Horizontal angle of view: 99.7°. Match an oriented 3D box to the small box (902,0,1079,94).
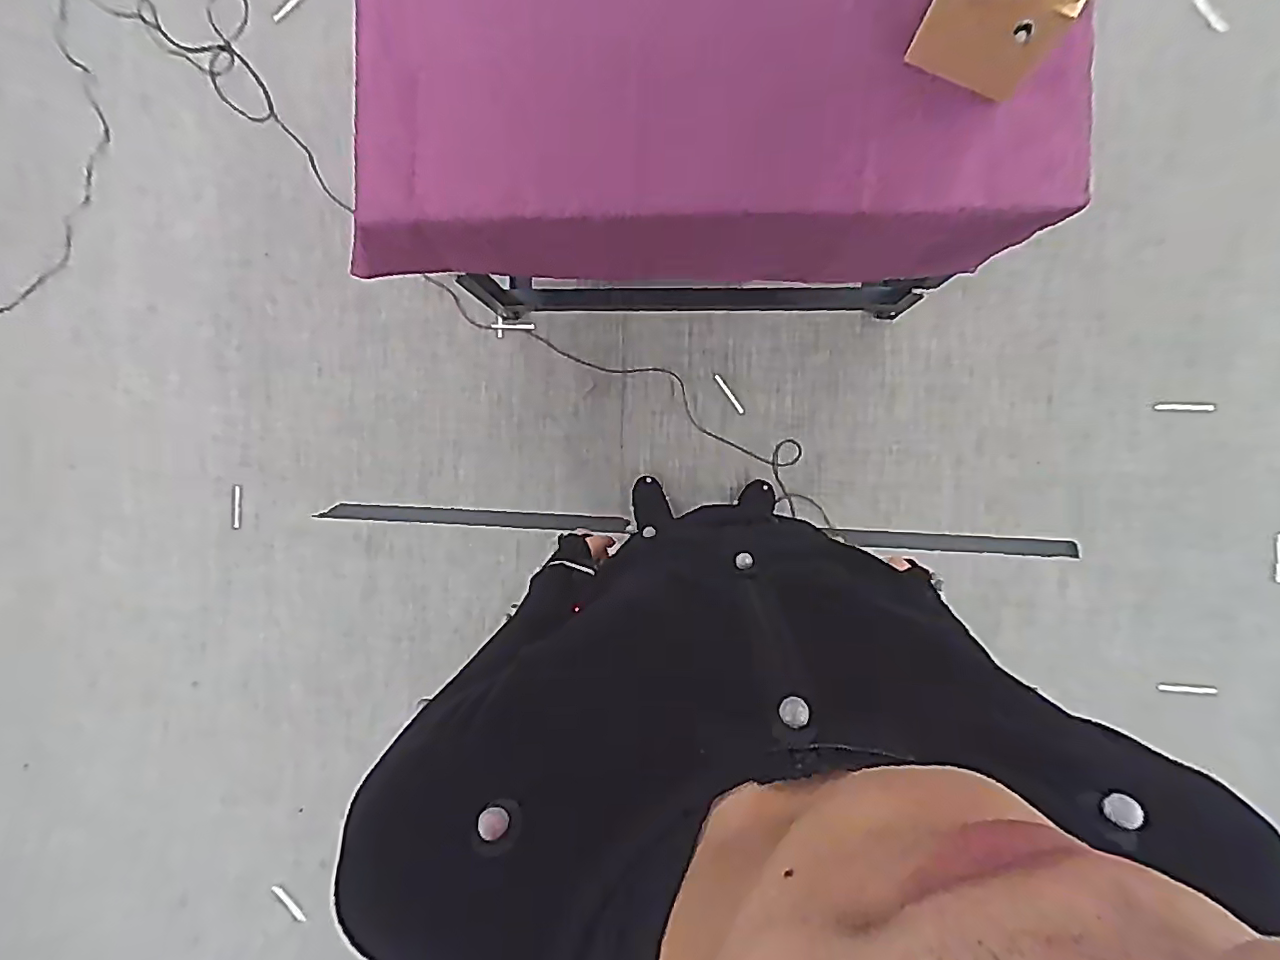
[{"bbox_3d":[0.523,-0.710,0.782,0.179,0.176,0.168,27,93,4],"label":"small box"}]
